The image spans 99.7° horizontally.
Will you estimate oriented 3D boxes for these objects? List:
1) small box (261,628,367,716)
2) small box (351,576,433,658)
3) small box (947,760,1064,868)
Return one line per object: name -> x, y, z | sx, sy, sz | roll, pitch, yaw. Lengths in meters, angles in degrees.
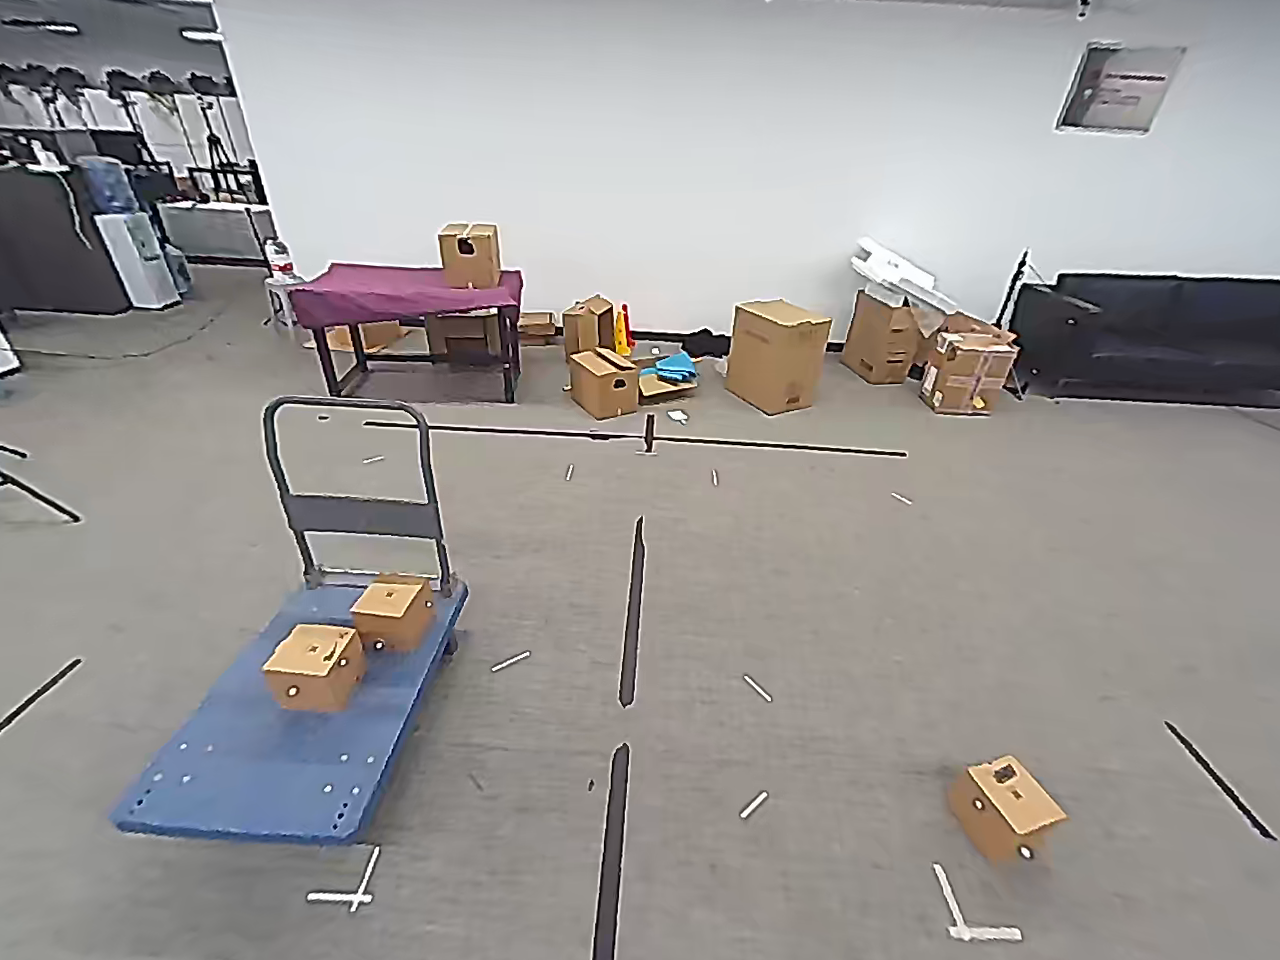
small box -> -0.909, 0.541, 1.526 | 0.179, 0.176, 0.168 | 4, 33, 3
small box -> -0.776, 0.433, 1.717 | 0.168, 0.176, 0.179 | 4, 33, 6
small box -> 0.983, 0.910, 1.476 | 0.168, 0.176, 0.179 | -6, 33, -15
